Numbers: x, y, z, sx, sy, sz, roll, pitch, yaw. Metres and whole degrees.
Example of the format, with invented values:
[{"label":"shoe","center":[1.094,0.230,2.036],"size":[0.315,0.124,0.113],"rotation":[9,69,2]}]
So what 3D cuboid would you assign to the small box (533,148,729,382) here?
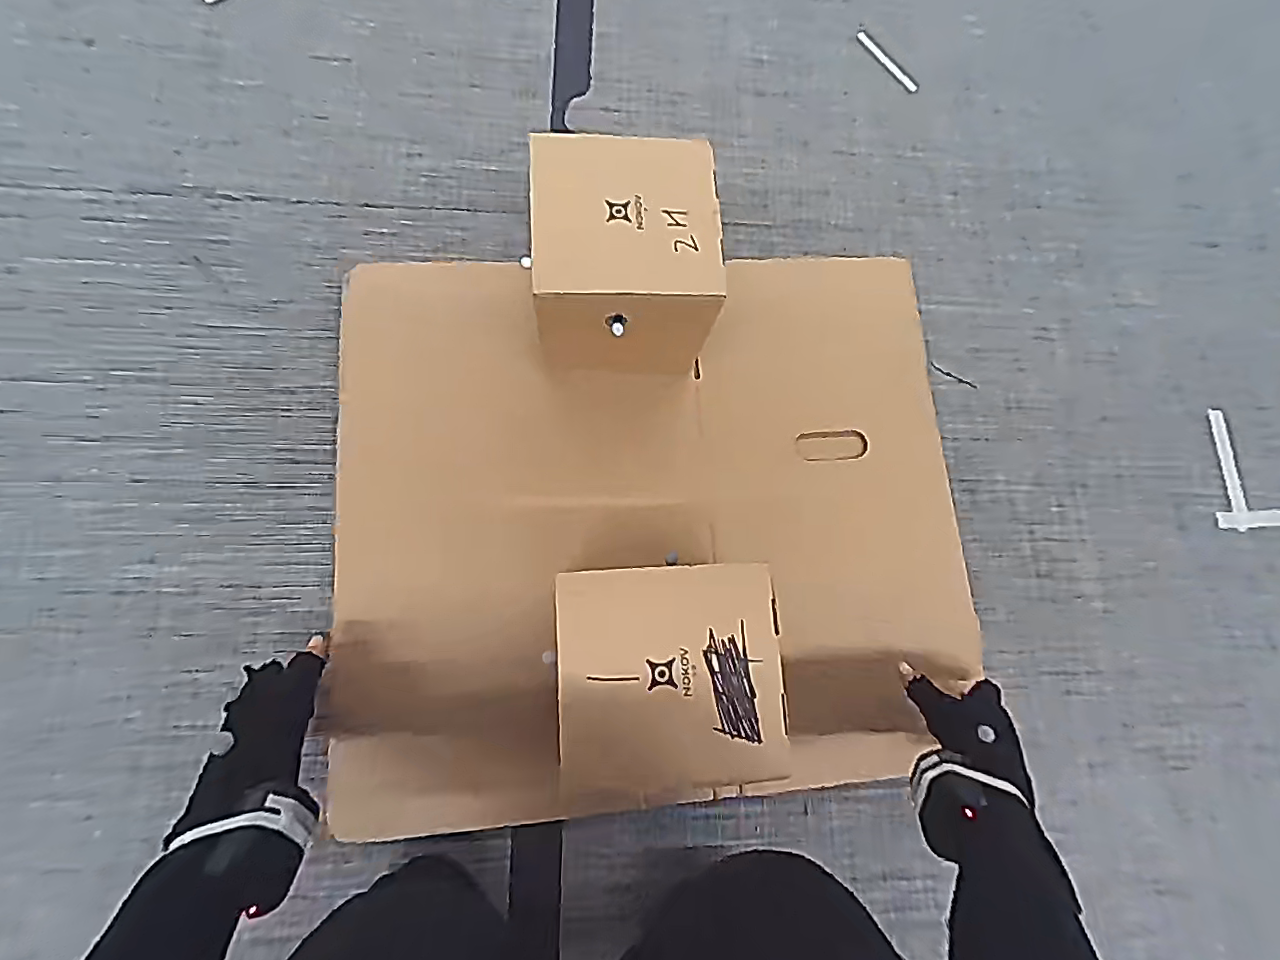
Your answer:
[{"label":"small box","center":[-0.016,-0.211,0.570],"size":[0.179,0.176,0.168],"rotation":[-1,78,-7]}]

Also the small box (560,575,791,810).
[{"label":"small box","center":[0.017,0.173,0.494],"size":[0.179,0.176,0.168],"rotation":[-2,79,-6]}]
